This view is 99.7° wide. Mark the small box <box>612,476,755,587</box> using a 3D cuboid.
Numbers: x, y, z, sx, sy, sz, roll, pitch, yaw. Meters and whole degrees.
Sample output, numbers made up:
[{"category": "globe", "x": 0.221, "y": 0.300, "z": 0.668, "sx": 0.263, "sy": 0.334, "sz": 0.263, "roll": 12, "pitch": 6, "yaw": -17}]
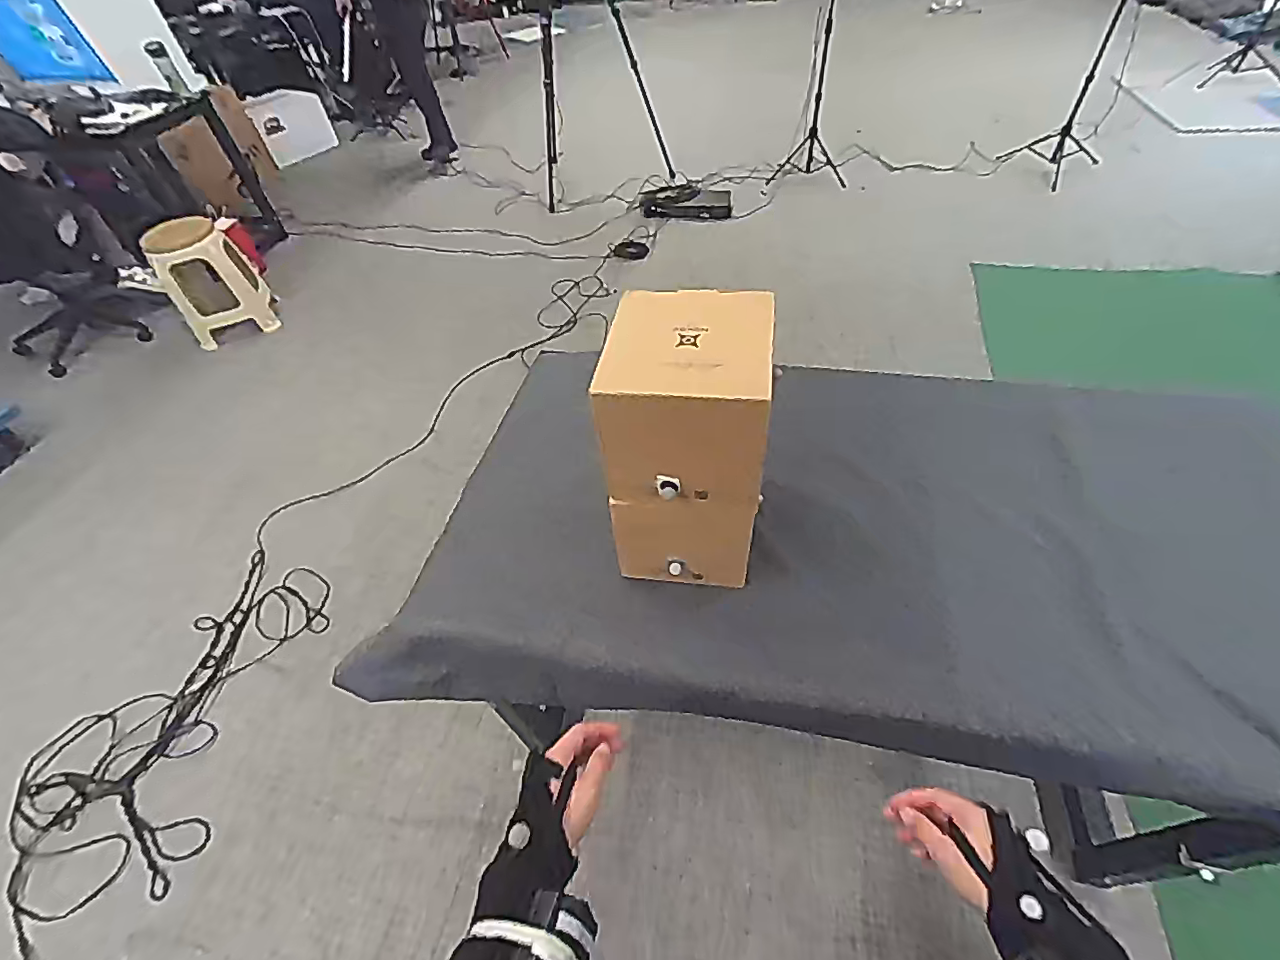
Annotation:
[{"category": "small box", "x": 0.066, "y": 0.018, "z": 0.718, "sx": 0.168, "sy": 0.176, "sz": 0.179, "roll": 4, "pitch": 50, "yaw": 9}]

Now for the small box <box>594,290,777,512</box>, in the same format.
[{"category": "small box", "x": 0.058, "y": -0.088, "z": 0.595, "sx": 0.168, "sy": 0.176, "sz": 0.179, "roll": 3, "pitch": 51, "yaw": 10}]
